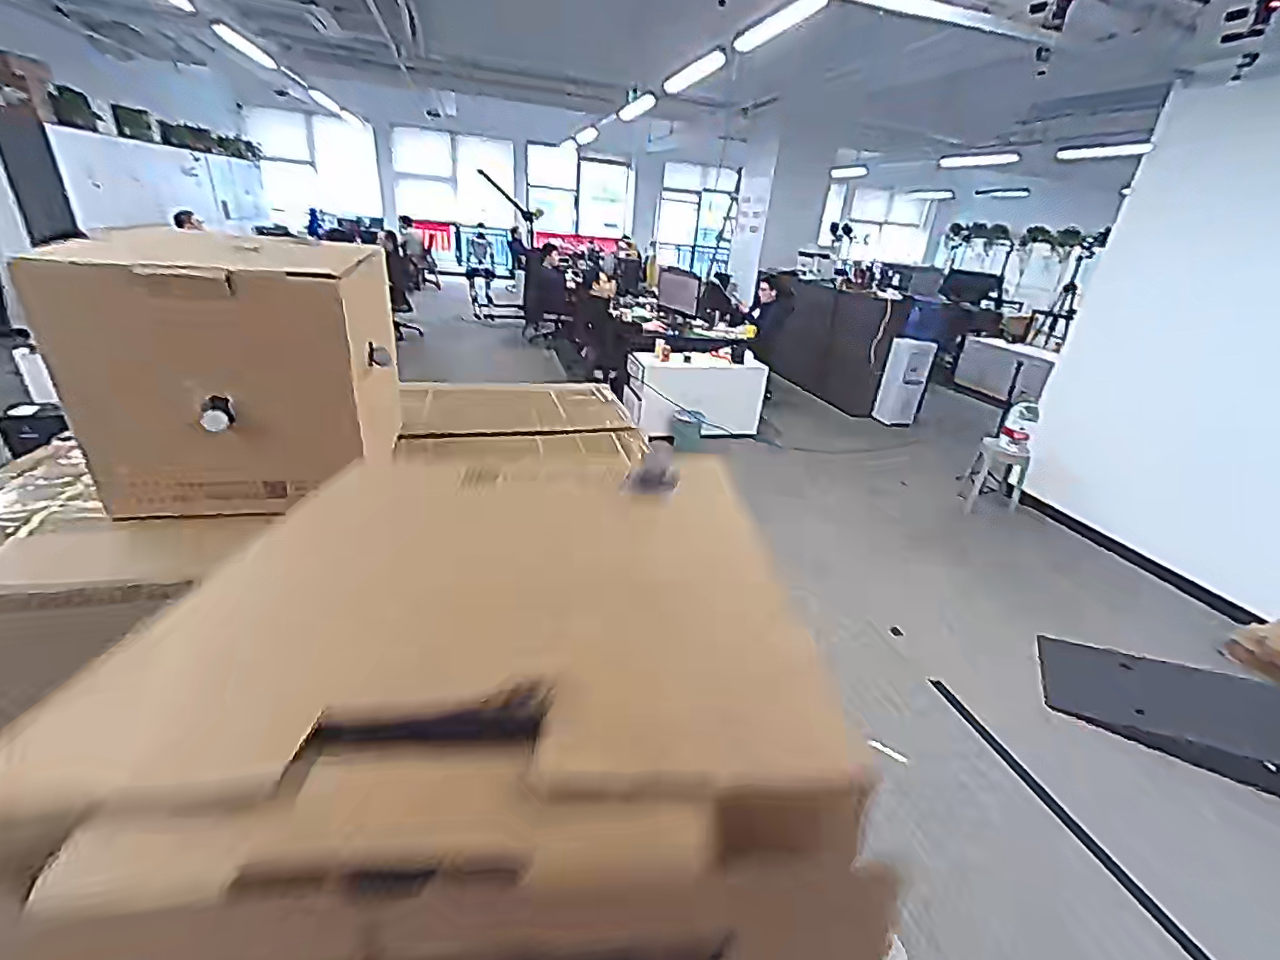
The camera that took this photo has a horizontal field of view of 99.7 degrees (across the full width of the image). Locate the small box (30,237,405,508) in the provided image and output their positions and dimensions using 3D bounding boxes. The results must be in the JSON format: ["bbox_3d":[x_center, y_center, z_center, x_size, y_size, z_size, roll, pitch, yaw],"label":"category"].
[{"bbox_3d":[-0.289,-0.087,0.427,0.168,0.176,0.179,-1,29,-16],"label":"small box"}]
